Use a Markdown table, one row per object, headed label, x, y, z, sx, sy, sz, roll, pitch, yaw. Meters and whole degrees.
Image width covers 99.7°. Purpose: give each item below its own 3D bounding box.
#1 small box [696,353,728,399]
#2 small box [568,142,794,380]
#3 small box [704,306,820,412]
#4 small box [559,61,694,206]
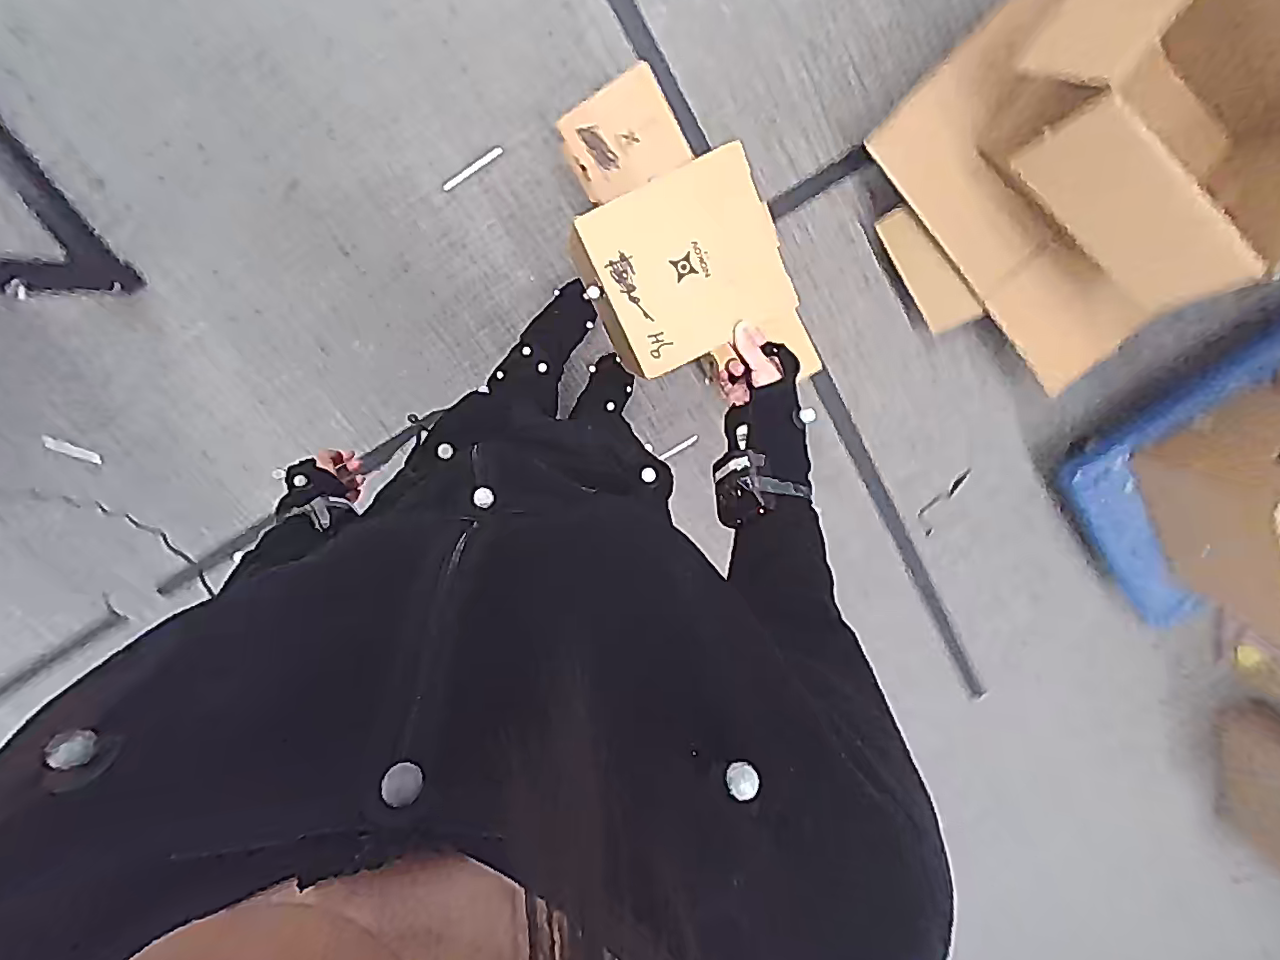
| label | x | y | z | sx | sy | sz | roll | pitch | yaw |
| --- | --- | --- | --- | --- | --- | --- | --- | --- | --- |
| small box | 0.216 | -0.317 | 1.260 | 0.168 | 0.176 | 0.179 | -26 | 109 | 7 |
| small box | 0.034 | -0.228 | 0.596 | 0.179 | 0.176 | 0.168 | -28 | 108 | -2 |
| small box | 0.233 | -0.267 | 1.105 | 0.179 | 0.176 | 0.168 | -29 | 109 | 9 |
| small box | -0.023 | -0.594 | 0.979 | 0.179 | 0.176 | 0.168 | -30 | 108 | 7 |
